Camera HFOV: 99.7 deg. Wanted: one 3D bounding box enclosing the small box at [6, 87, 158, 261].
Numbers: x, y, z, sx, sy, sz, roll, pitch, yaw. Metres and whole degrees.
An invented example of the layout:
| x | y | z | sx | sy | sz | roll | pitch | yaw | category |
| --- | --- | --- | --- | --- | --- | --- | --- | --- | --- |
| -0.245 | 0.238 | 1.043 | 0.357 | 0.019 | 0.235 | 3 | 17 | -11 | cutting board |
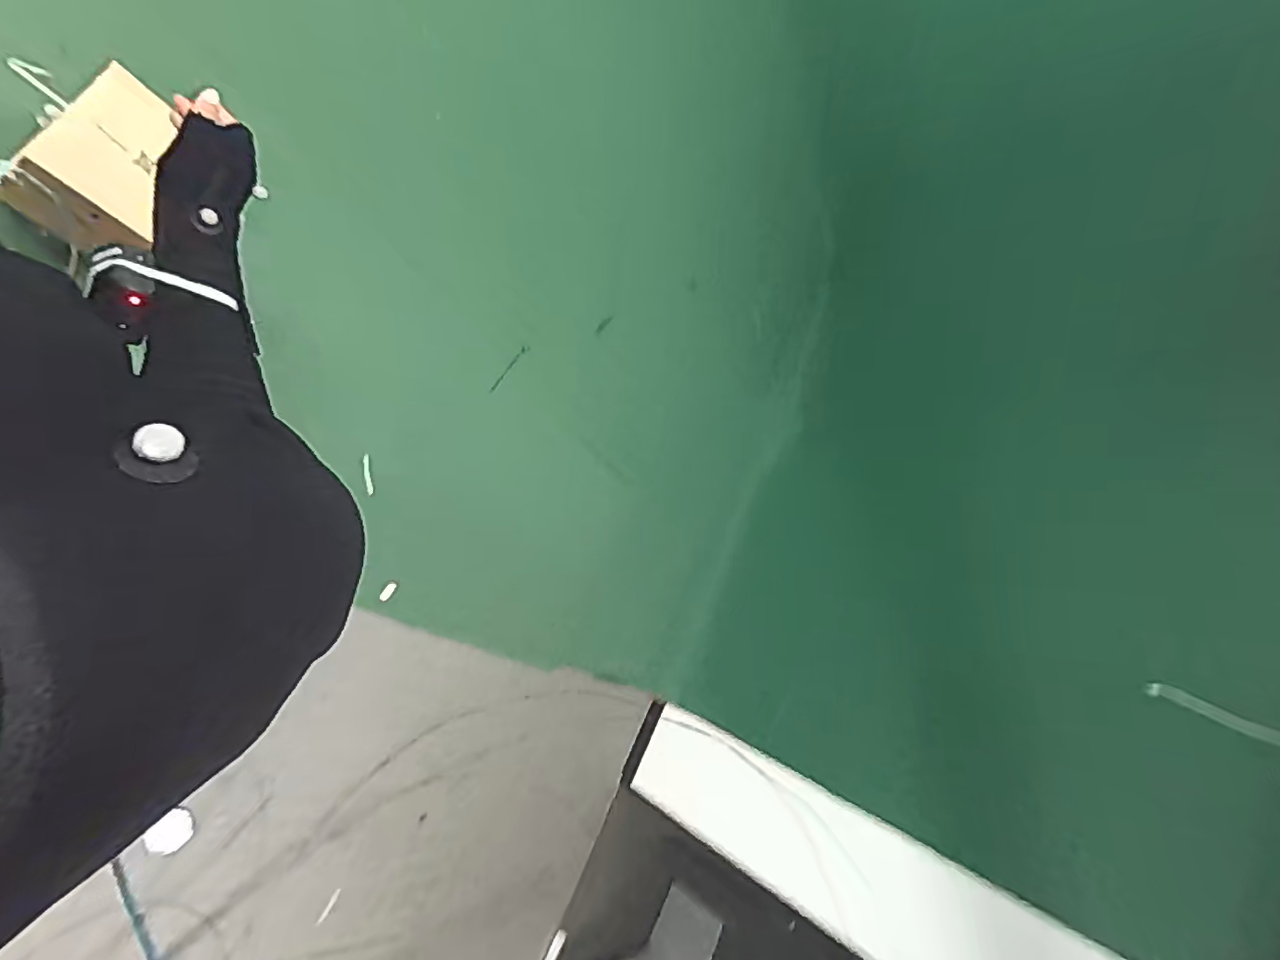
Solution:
| x | y | z | sx | sy | sz | roll | pitch | yaw | category |
| --- | --- | --- | --- | --- | --- | --- | --- | --- | --- |
| -0.835 | -0.468 | 0.857 | 0.168 | 0.176 | 0.179 | -61 | 142 | -15 | small box |

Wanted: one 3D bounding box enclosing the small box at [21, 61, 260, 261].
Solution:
| x | y | z | sx | sy | sz | roll | pitch | yaw | category |
| --- | --- | --- | --- | --- | --- | --- | --- | --- | --- |
| -0.699 | -0.436 | 0.764 | 0.168 | 0.176 | 0.179 | -62 | 142 | -17 | small box |
